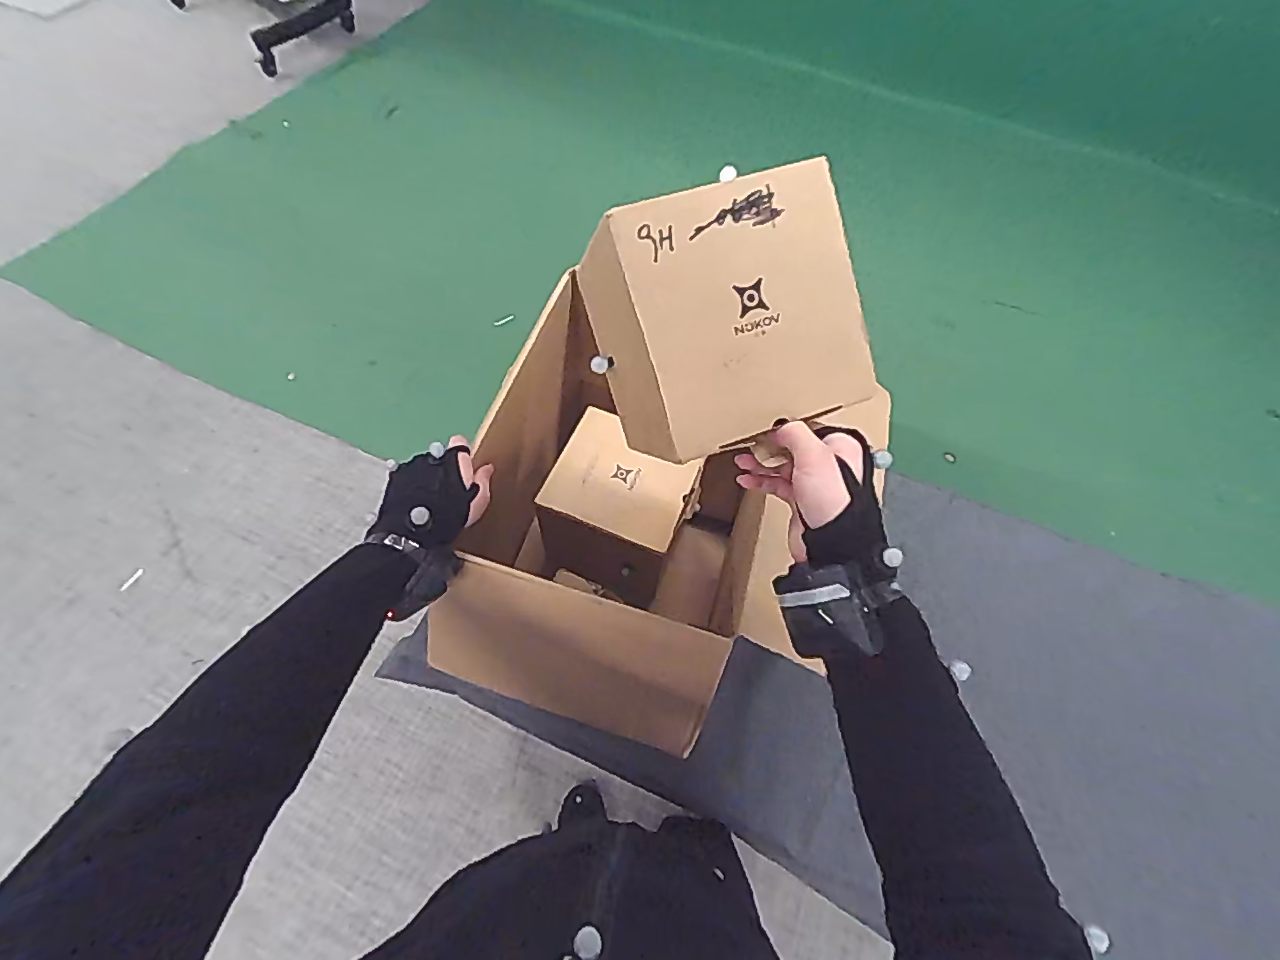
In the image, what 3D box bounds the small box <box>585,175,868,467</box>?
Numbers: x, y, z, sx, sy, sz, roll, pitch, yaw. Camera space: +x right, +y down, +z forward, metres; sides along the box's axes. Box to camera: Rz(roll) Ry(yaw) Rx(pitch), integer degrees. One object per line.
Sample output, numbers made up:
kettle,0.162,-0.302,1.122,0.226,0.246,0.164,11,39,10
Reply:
small box,0.061,-0.125,0.470,0.168,0.176,0.179,-20,101,-10
